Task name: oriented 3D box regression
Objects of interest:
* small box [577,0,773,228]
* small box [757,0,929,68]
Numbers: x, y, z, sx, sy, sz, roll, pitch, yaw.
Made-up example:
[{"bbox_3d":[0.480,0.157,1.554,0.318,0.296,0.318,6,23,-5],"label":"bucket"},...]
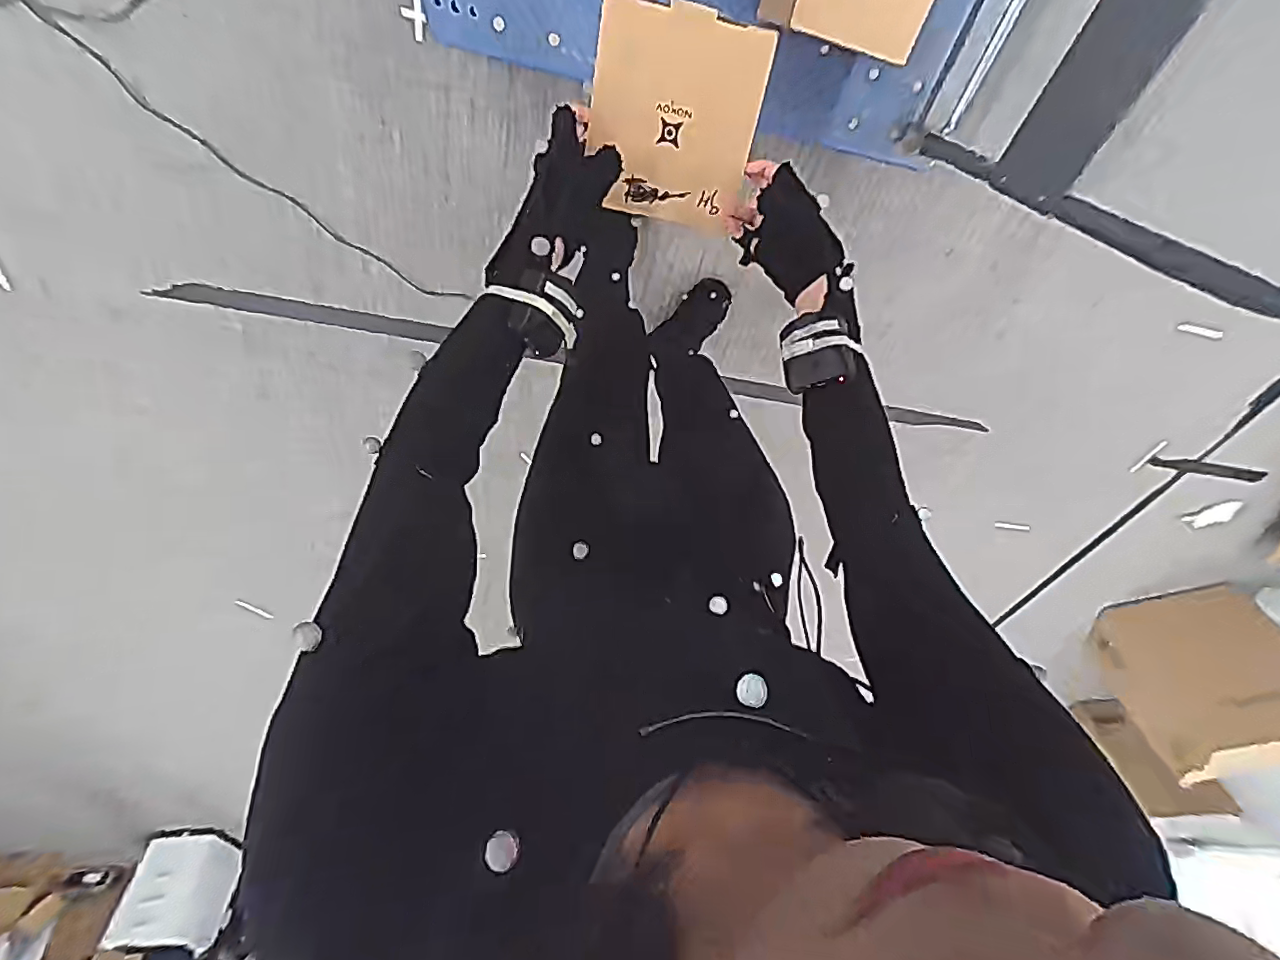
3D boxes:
[{"bbox_3d":[0.026,-0.402,0.605,0.168,0.176,0.179,9,121,-8],"label":"small box"},{"bbox_3d":[0.275,-0.674,0.711,0.179,0.176,0.168,8,132,-14],"label":"small box"}]
